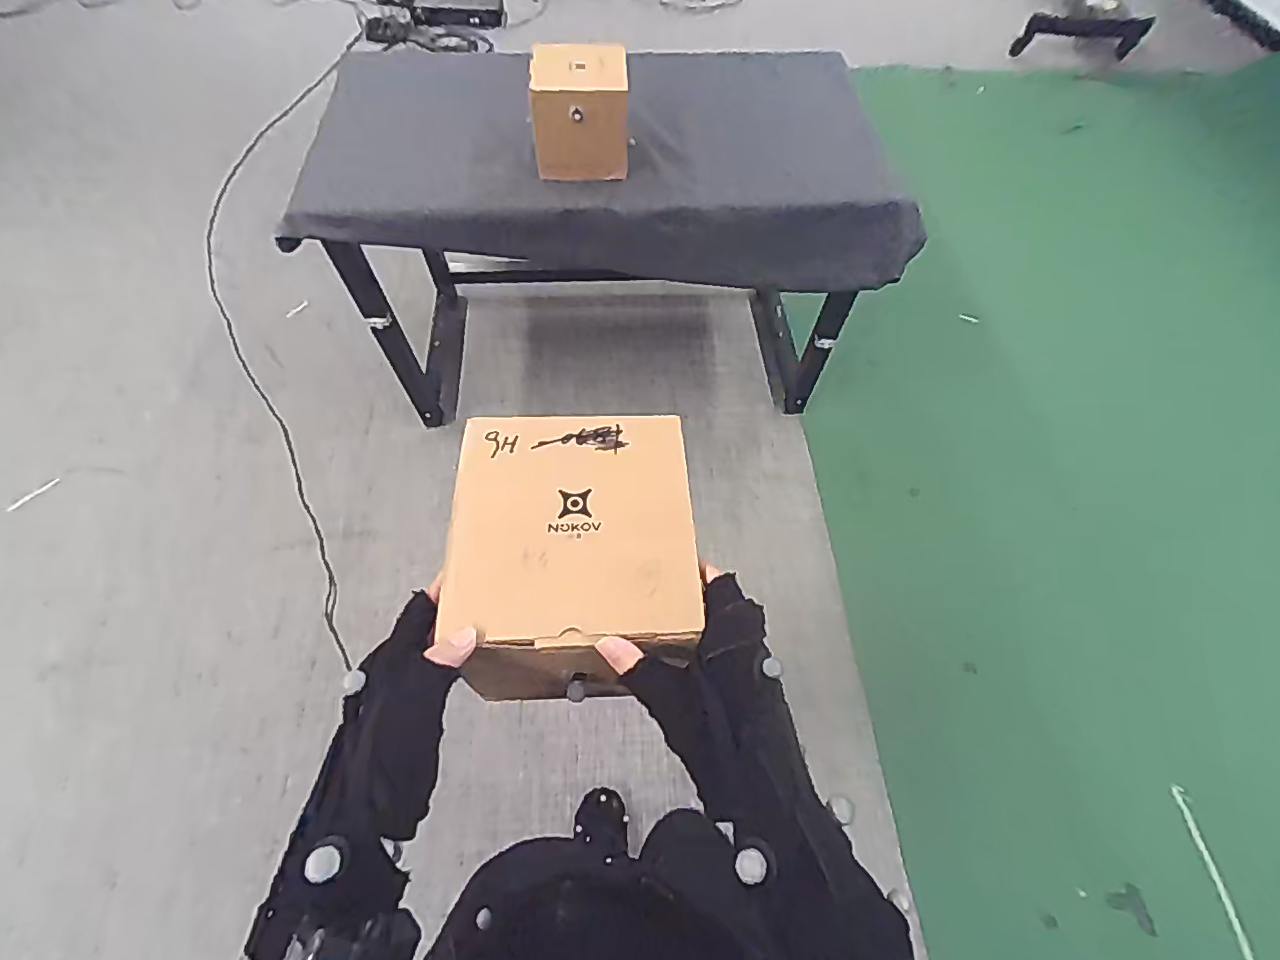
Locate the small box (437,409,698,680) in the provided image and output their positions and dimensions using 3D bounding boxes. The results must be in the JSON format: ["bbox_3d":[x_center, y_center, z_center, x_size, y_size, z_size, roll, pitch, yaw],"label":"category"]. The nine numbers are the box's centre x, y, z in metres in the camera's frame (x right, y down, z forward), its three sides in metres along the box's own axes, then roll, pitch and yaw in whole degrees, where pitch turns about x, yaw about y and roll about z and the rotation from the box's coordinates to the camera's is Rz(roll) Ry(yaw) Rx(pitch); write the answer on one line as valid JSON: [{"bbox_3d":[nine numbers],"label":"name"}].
[{"bbox_3d":[-0.050,0.061,0.442,0.168,0.176,0.179,0,59,-4],"label":"small box"}]

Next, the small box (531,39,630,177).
[{"bbox_3d":[-0.109,-0.713,1.045,0.179,0.176,0.168,-1,62,-4],"label":"small box"}]
